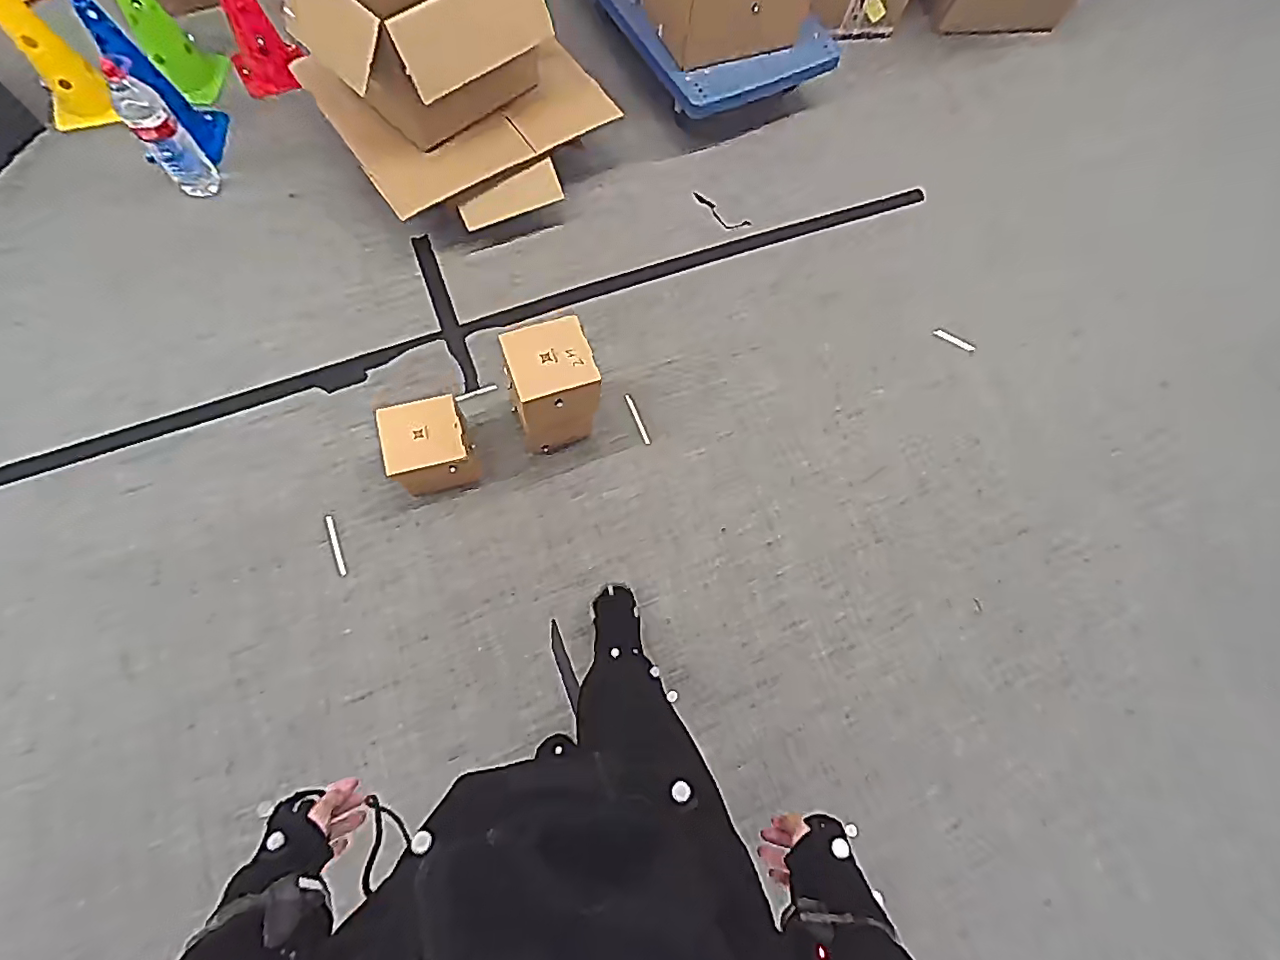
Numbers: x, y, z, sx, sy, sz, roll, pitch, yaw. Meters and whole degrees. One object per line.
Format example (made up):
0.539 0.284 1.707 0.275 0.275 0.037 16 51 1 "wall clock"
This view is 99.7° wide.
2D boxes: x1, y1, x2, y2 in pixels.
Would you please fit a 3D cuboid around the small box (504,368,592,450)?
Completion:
-0.223 -0.190 1.350 0.168 0.176 0.179 -21 75 -13 "small box"

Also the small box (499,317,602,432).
-0.194 -0.226 1.191 0.179 0.176 0.168 -19 76 -13 "small box"

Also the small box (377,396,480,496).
-0.496 -0.074 1.284 0.179 0.176 0.168 -15 74 -11 "small box"
